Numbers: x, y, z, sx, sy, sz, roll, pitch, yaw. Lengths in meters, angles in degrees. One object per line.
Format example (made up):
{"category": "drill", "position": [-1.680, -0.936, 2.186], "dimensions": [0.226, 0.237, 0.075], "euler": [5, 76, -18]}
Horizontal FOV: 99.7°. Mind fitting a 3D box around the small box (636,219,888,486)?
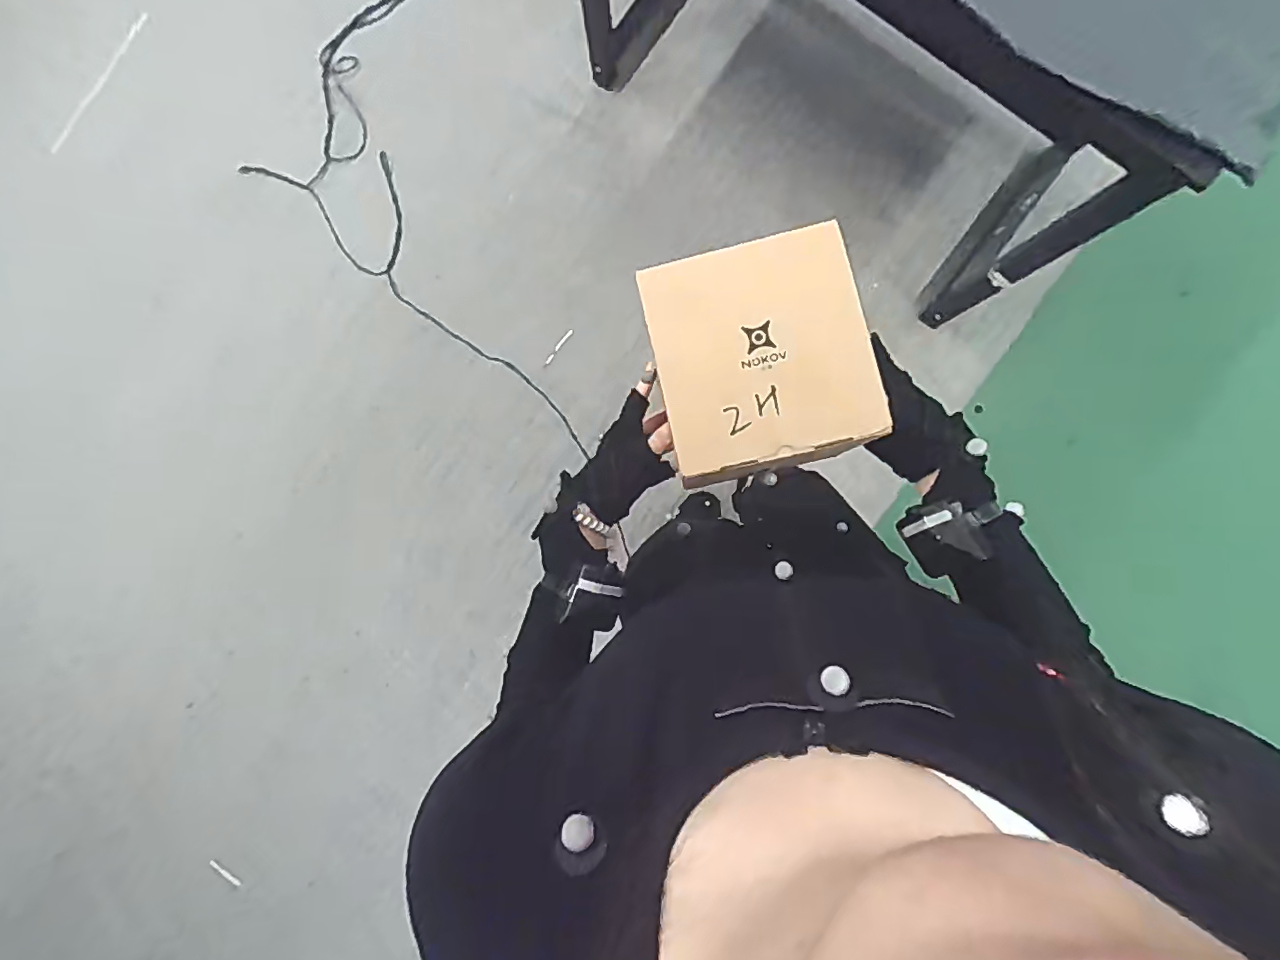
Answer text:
{"category": "small box", "position": [0.098, -0.099, 0.502], "dimensions": [0.168, 0.176, 0.179], "euler": [-13, 85, 5]}
